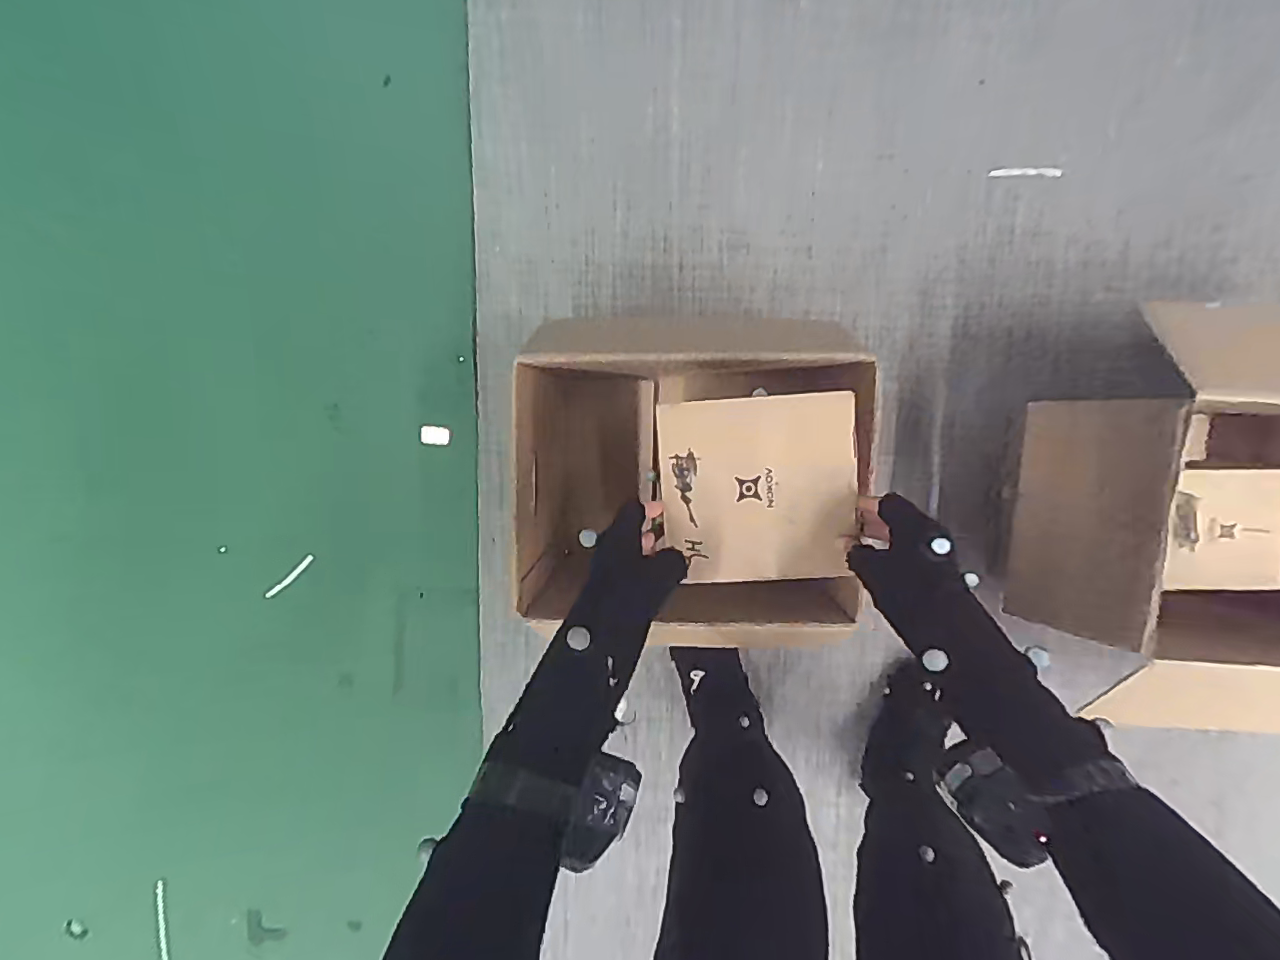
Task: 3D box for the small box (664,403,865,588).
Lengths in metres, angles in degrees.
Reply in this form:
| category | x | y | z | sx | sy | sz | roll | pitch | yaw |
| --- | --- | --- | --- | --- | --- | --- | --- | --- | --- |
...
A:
| category | x | y | z | sx | sy | sz | roll | pitch | yaw |
| --- | --- | --- | --- | --- | --- | --- | --- | --- | --- |
| small box | 0.117 | 0.009 | 0.570 | 0.179 | 0.176 | 0.168 | -4 | 93 | 3 |
